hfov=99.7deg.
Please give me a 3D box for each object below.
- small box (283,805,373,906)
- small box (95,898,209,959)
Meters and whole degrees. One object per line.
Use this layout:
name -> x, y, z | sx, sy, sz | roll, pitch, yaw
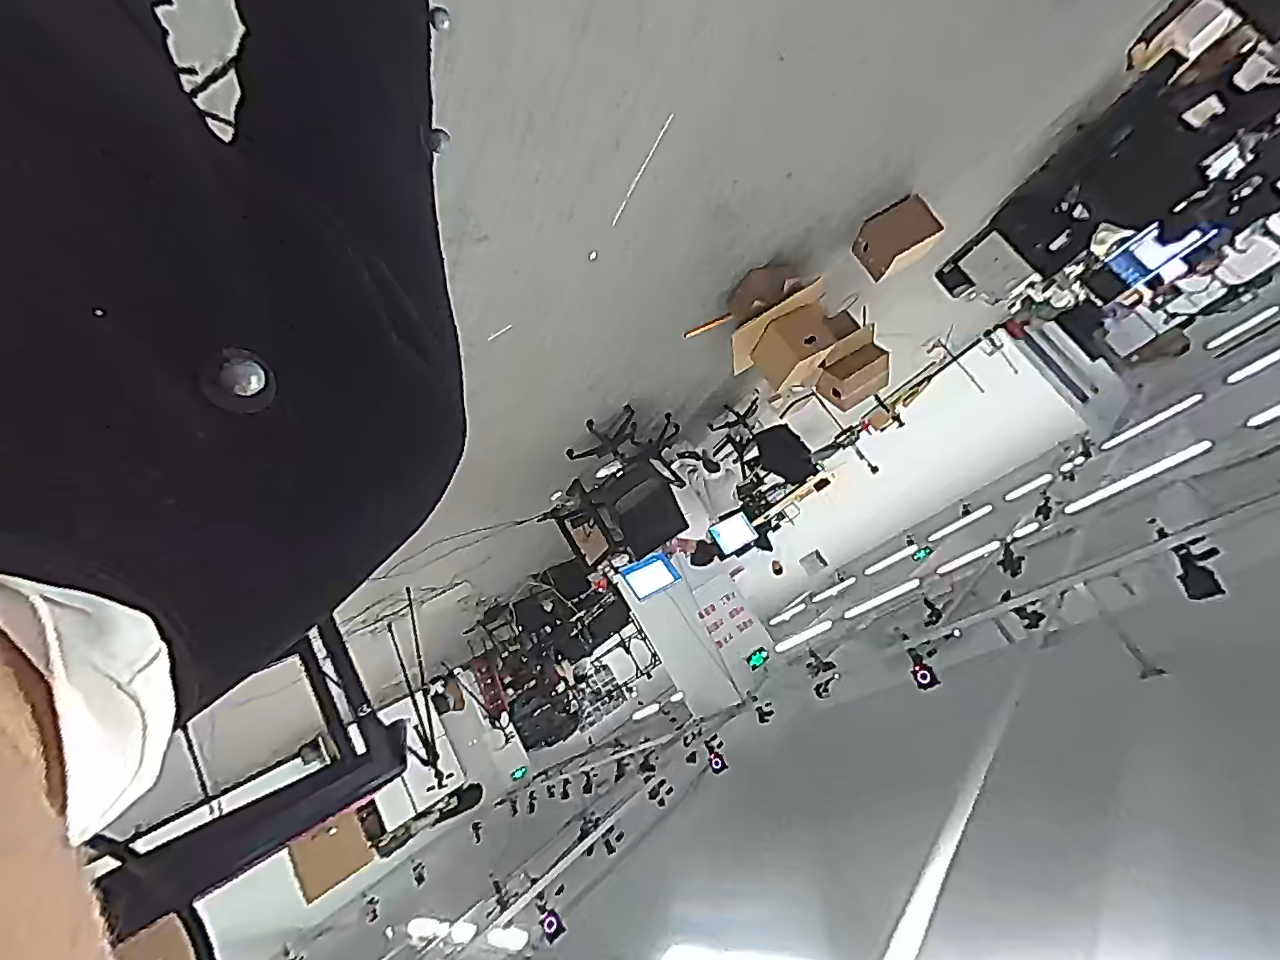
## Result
small box -> -0.869, 1.033, 1.500 | 0.168, 0.176, 0.179 | -19, 161, -41
small box -> -1.134, 1.124, 1.260 | 0.179, 0.176, 0.168 | -19, 161, -44
